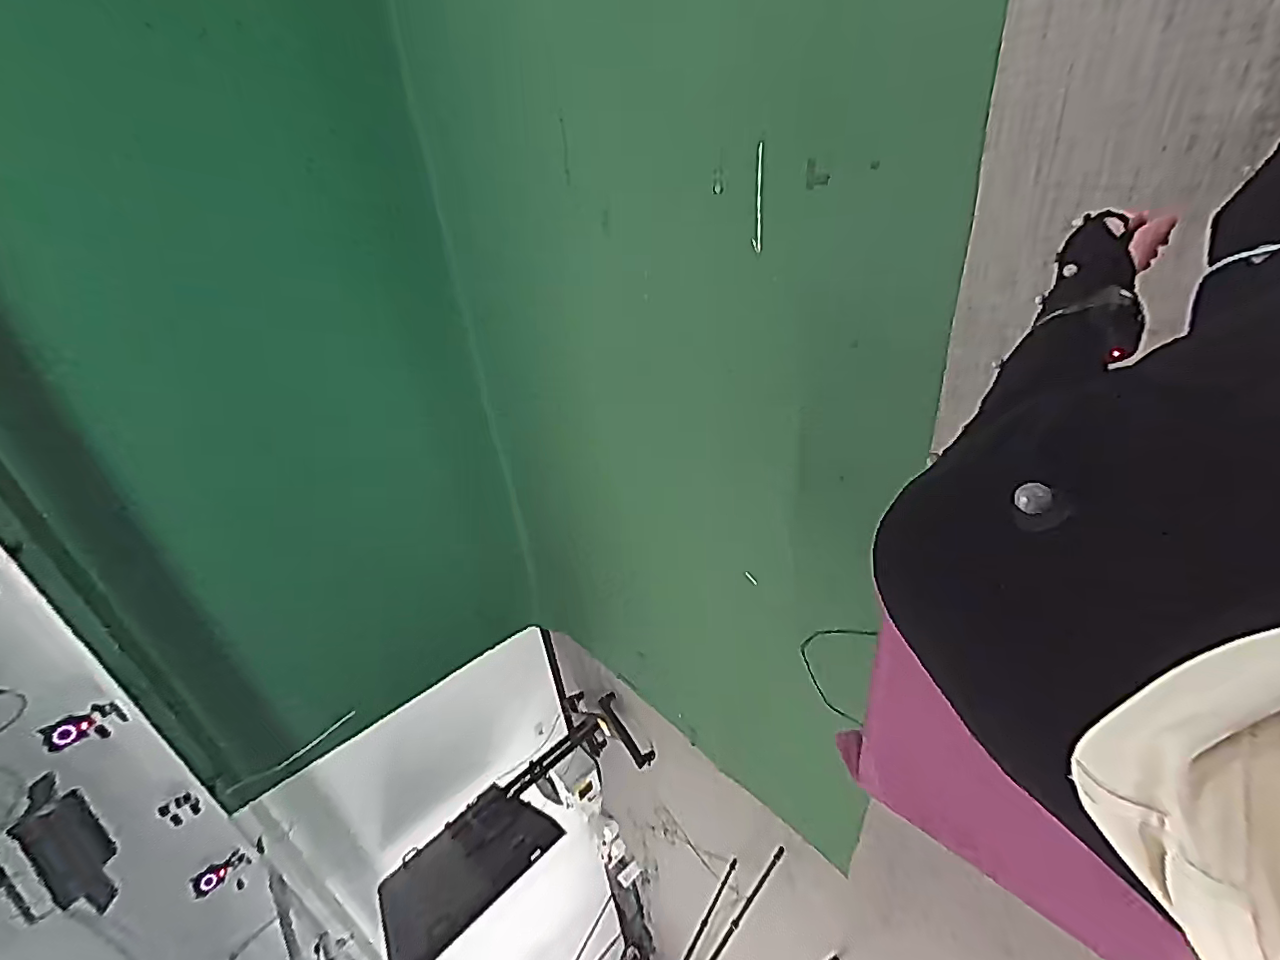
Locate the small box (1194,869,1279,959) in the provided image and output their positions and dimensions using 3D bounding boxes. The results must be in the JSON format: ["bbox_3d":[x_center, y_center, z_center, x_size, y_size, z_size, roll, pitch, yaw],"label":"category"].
[{"bbox_3d":[0.918,0.710,0.762,0.168,0.176,0.179,22,130,44],"label":"small box"}]
